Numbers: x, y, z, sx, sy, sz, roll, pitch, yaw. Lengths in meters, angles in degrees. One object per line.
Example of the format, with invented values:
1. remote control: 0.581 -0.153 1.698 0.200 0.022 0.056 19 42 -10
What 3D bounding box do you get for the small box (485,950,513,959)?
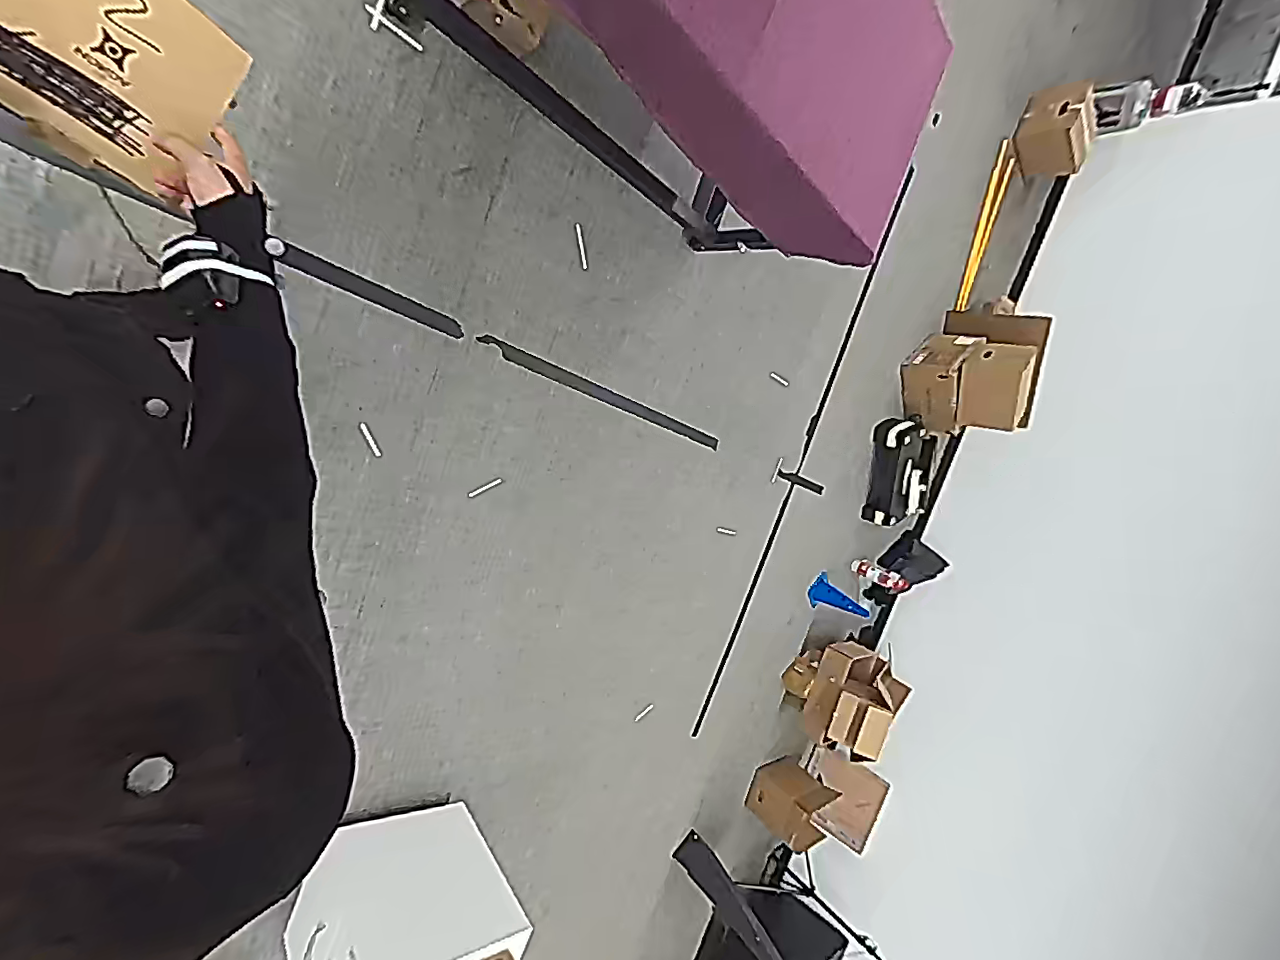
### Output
1. small box: -0.433 1.522 1.551 0.168 0.176 0.179 19 94 -45
